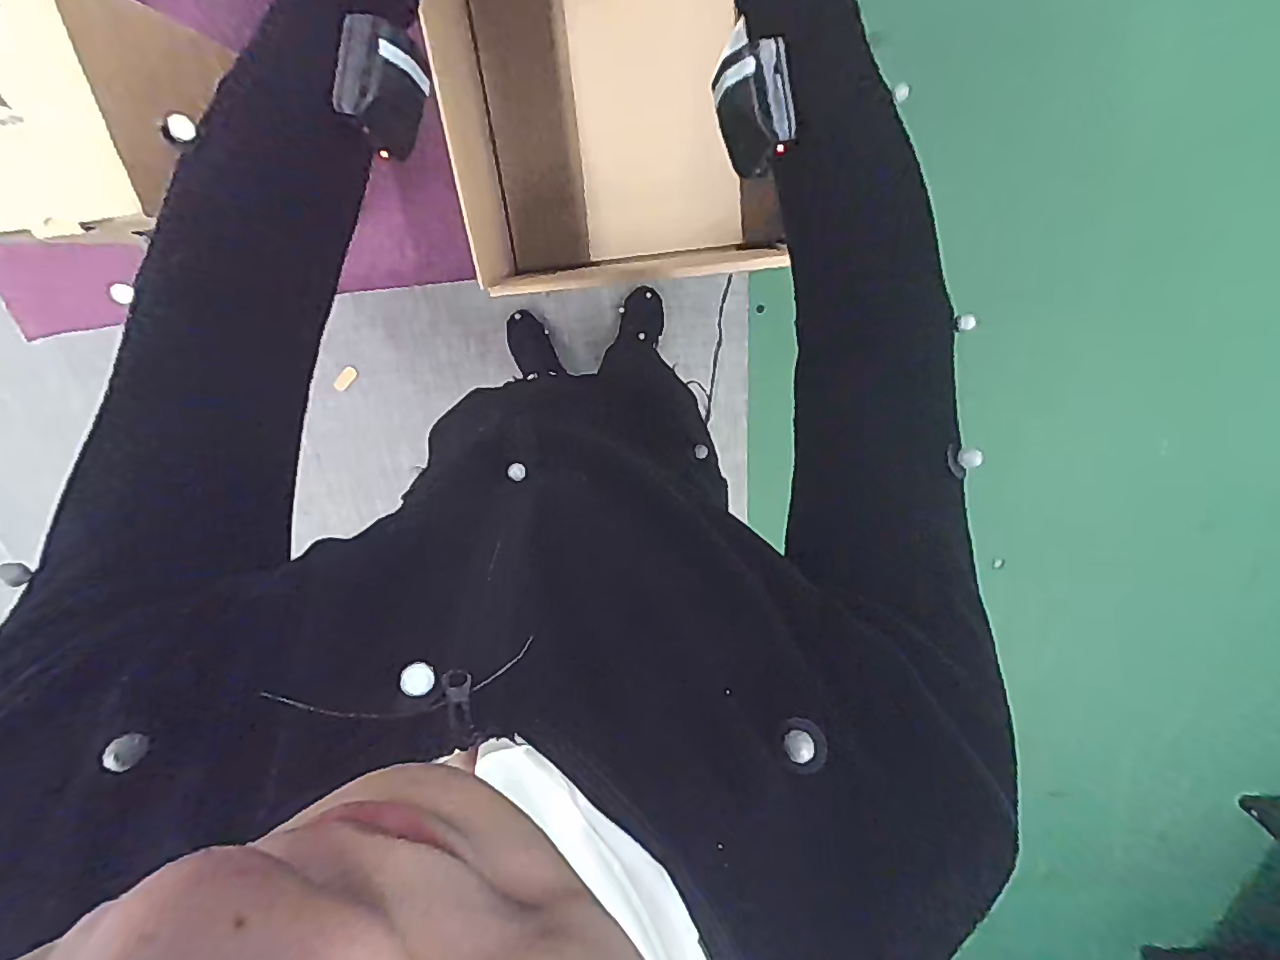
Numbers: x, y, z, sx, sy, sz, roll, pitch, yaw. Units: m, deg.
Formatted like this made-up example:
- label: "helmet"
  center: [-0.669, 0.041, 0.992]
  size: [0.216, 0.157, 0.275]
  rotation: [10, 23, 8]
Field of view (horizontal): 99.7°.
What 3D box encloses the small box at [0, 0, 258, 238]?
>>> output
- label: "small box"
  center: [-0.500, -0.323, 0.493]
  size: [0.168, 0.176, 0.179]
  rotation: [-5, 113, 2]
